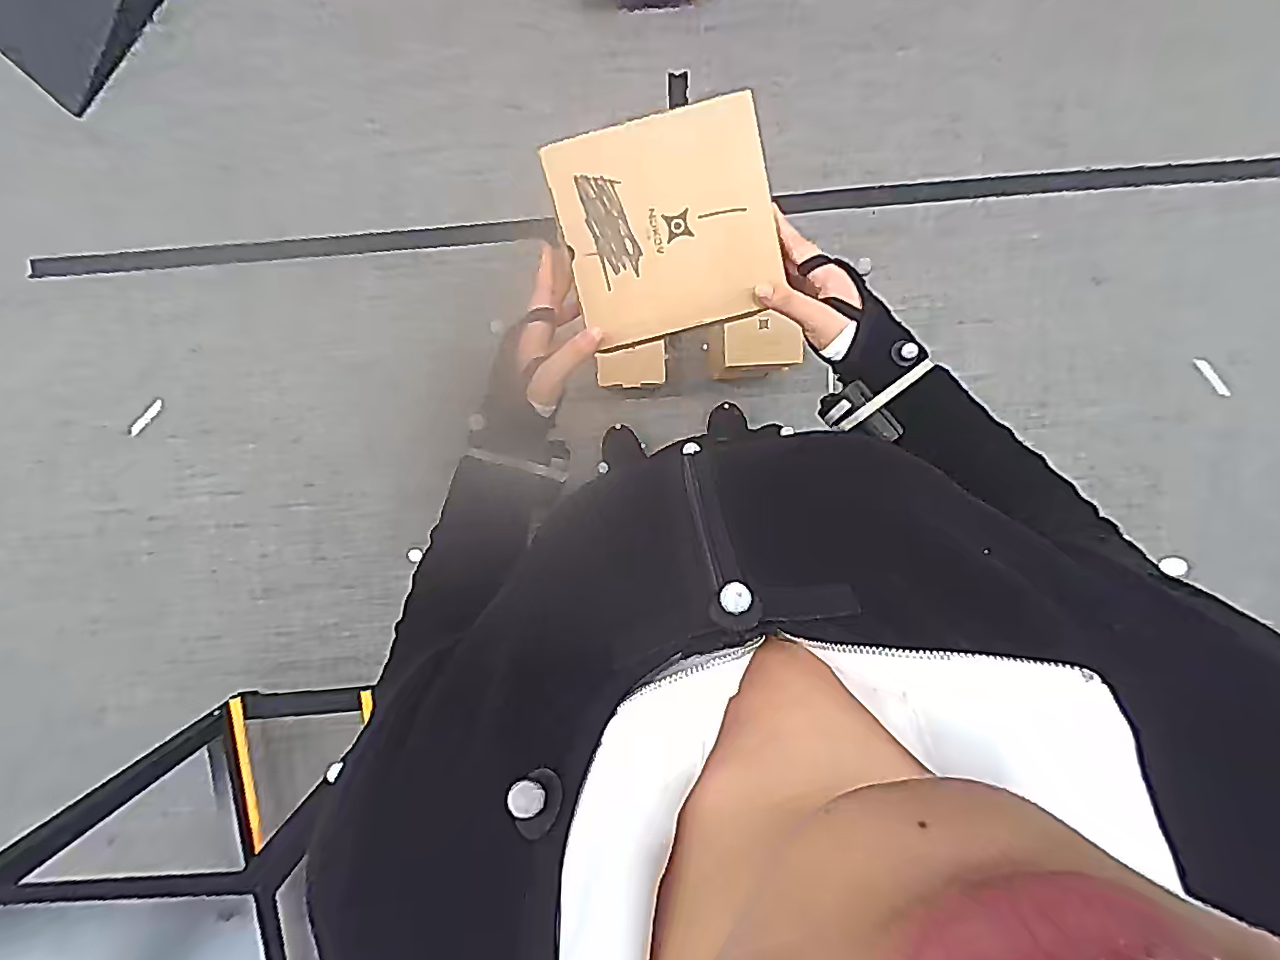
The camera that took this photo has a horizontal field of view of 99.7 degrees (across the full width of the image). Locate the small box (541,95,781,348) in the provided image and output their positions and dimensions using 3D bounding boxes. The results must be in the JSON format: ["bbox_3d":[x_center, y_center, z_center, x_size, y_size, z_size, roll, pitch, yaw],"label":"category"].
[{"bbox_3d":[0.021,-0.228,0.528,0.179,0.176,0.168,-13,103,3],"label":"small box"}]

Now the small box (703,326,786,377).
[{"bbox_3d":[0.260,-0.354,1.376,0.179,0.176,0.168,-5,97,1],"label":"small box"}]

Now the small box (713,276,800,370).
[{"bbox_3d":[0.254,-0.345,1.213,0.168,0.176,0.179,-3,98,1],"label":"small box"}]

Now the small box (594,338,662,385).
[{"bbox_3d":[-0.027,-0.332,1.380,0.168,0.176,0.179,-1,98,2],"label":"small box"}]
